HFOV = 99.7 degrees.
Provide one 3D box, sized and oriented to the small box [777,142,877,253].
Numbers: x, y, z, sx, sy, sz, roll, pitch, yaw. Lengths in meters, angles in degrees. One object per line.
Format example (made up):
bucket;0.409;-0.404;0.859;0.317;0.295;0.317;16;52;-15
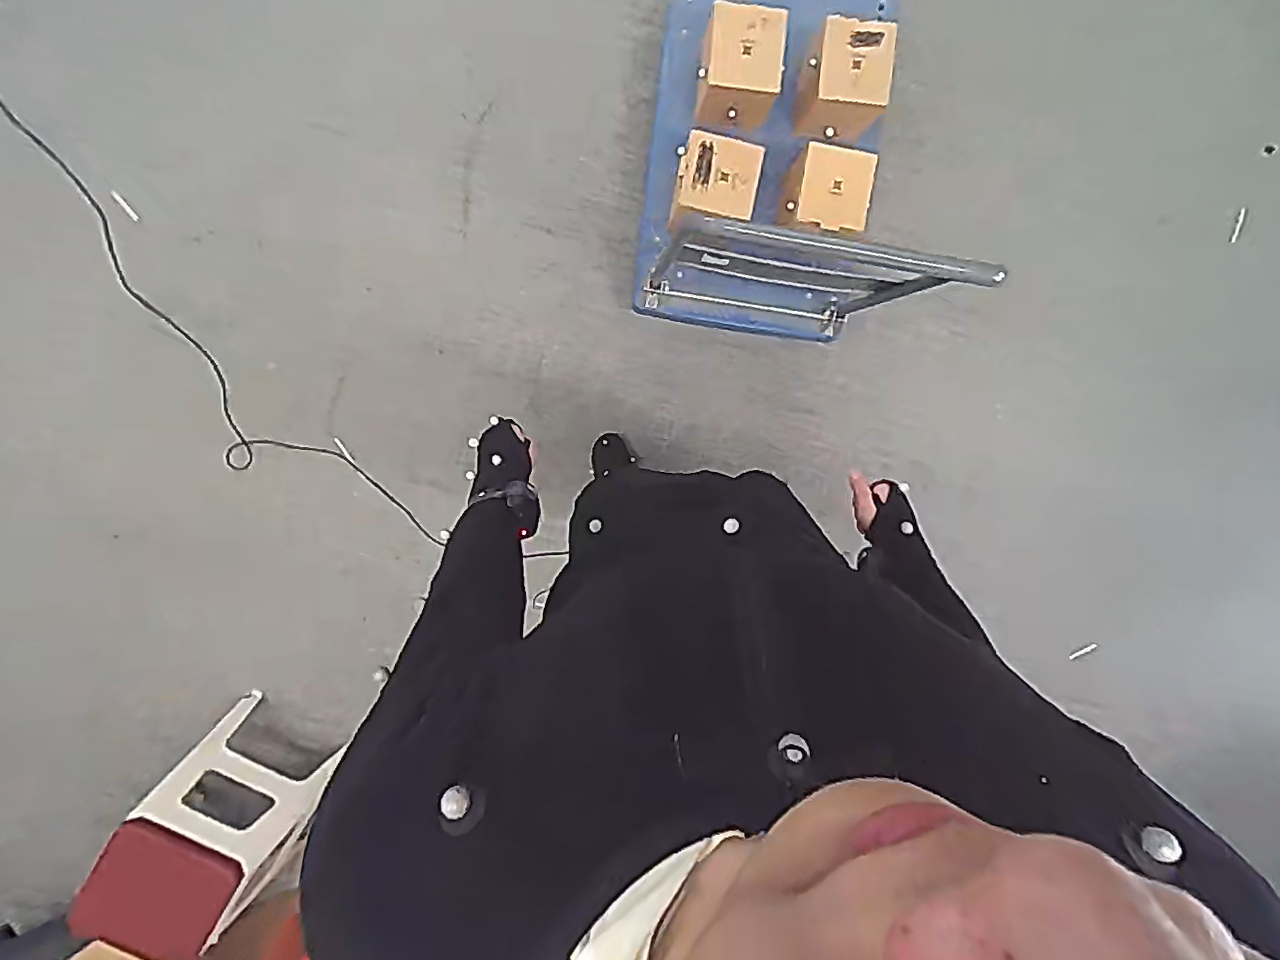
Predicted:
small box;0.448;-0.681;1.321;0.168;0.176;0.179;8;96;-5

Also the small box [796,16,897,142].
small box;0.484;-0.947;1.291;0.168;0.176;0.179;4;97;-3

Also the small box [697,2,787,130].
small box;0.232;-0.962;1.273;0.168;0.176;0.179;4;96;-5
